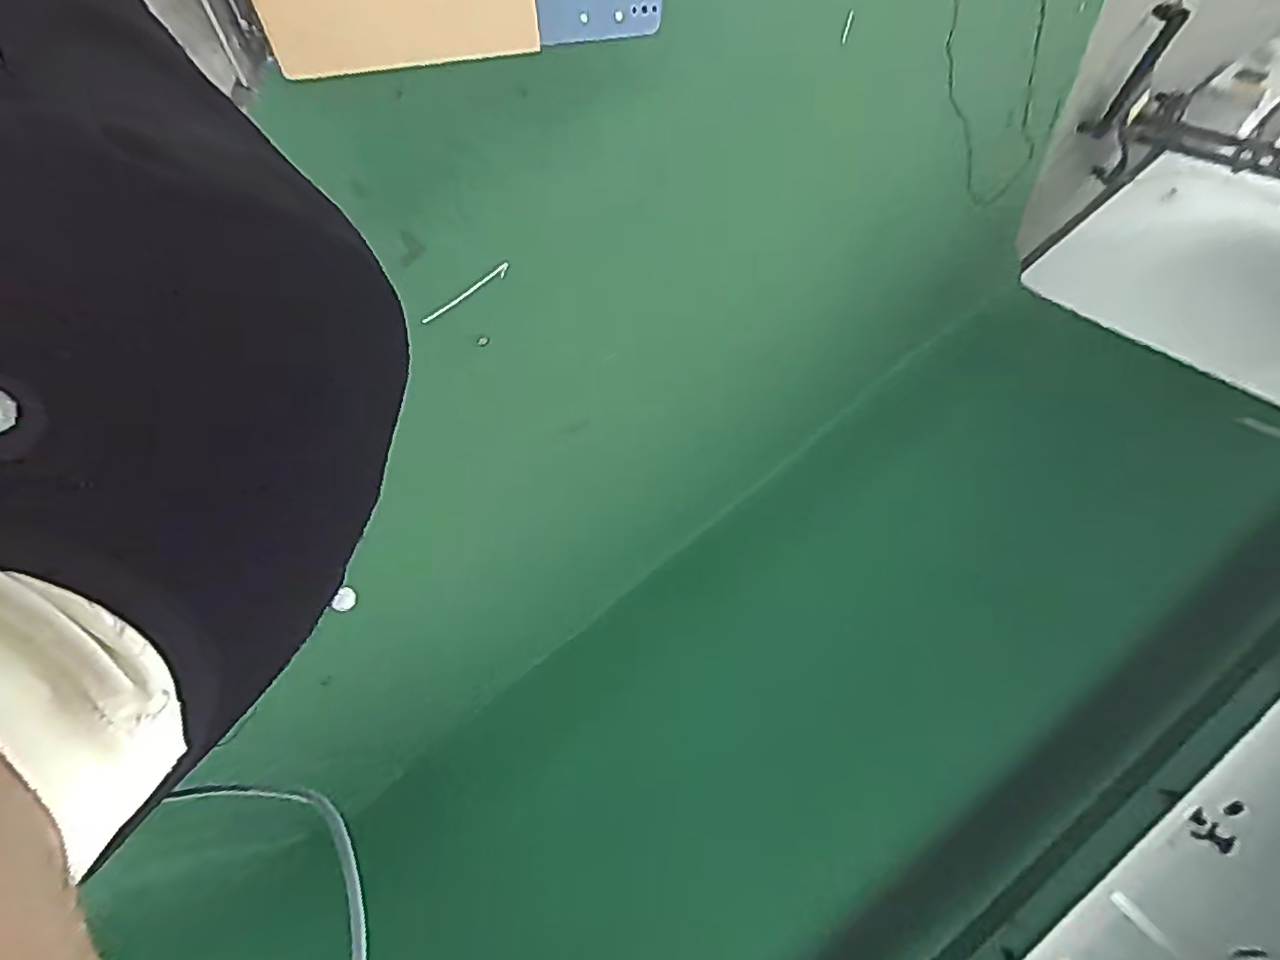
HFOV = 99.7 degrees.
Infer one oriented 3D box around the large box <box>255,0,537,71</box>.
[{"bbox_3d":[-0.417,-0.876,0.833,0.408,0.320,0.320,-19,142,-15],"label":"large box"}]
